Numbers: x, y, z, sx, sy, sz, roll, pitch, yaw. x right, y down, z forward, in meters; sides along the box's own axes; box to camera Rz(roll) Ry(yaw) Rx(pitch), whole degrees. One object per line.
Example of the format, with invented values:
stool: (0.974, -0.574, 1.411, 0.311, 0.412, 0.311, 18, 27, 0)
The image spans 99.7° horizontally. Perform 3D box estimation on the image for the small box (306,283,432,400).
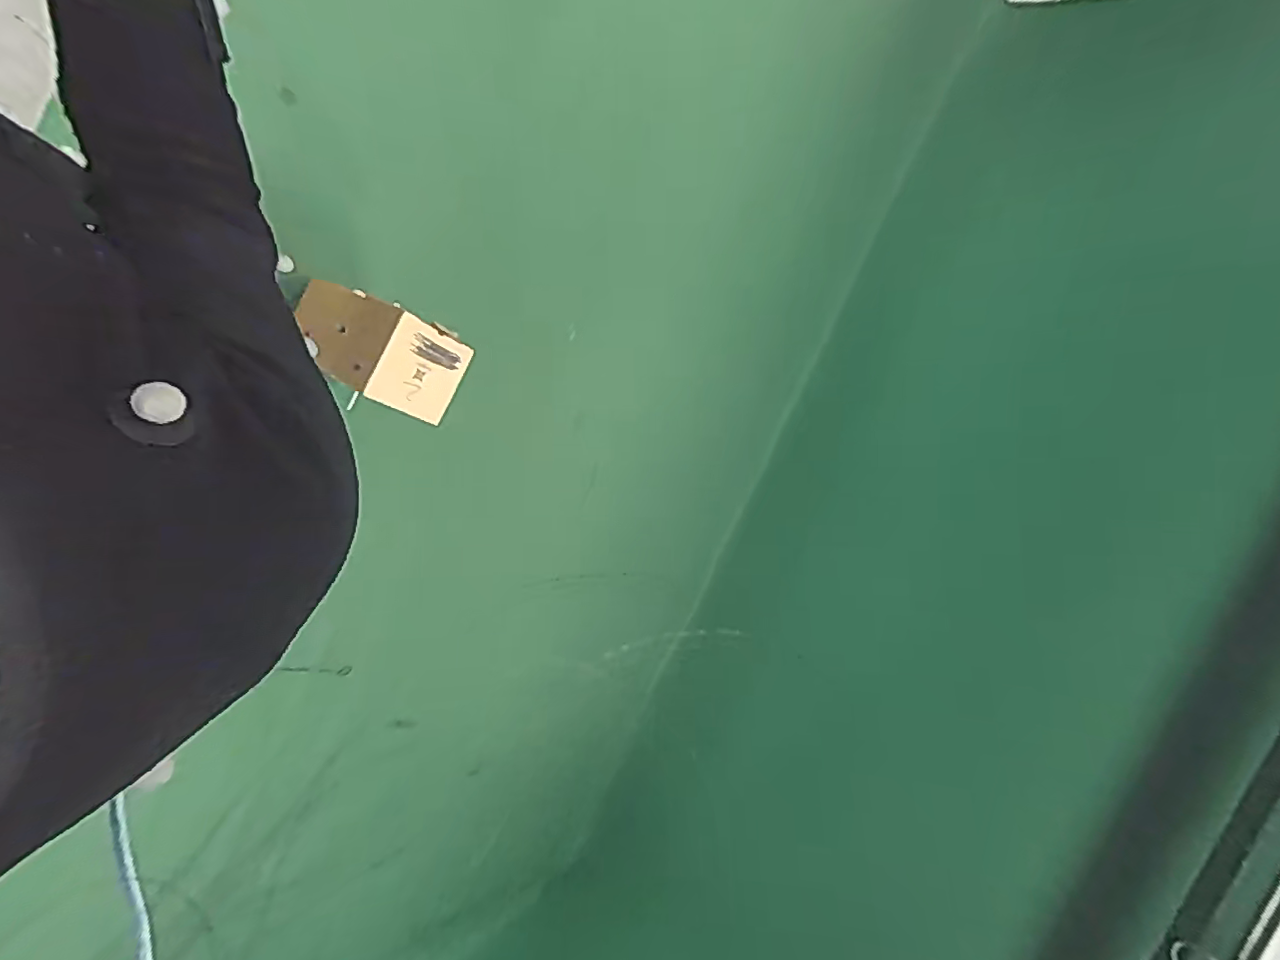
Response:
small box: (-0.602, -0.305, 1.191, 0.168, 0.176, 0.179, 26, 91, -54)

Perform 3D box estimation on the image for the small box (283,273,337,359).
small box: (-0.716, -0.365, 1.291, 0.168, 0.176, 0.179, 25, 92, -55)
